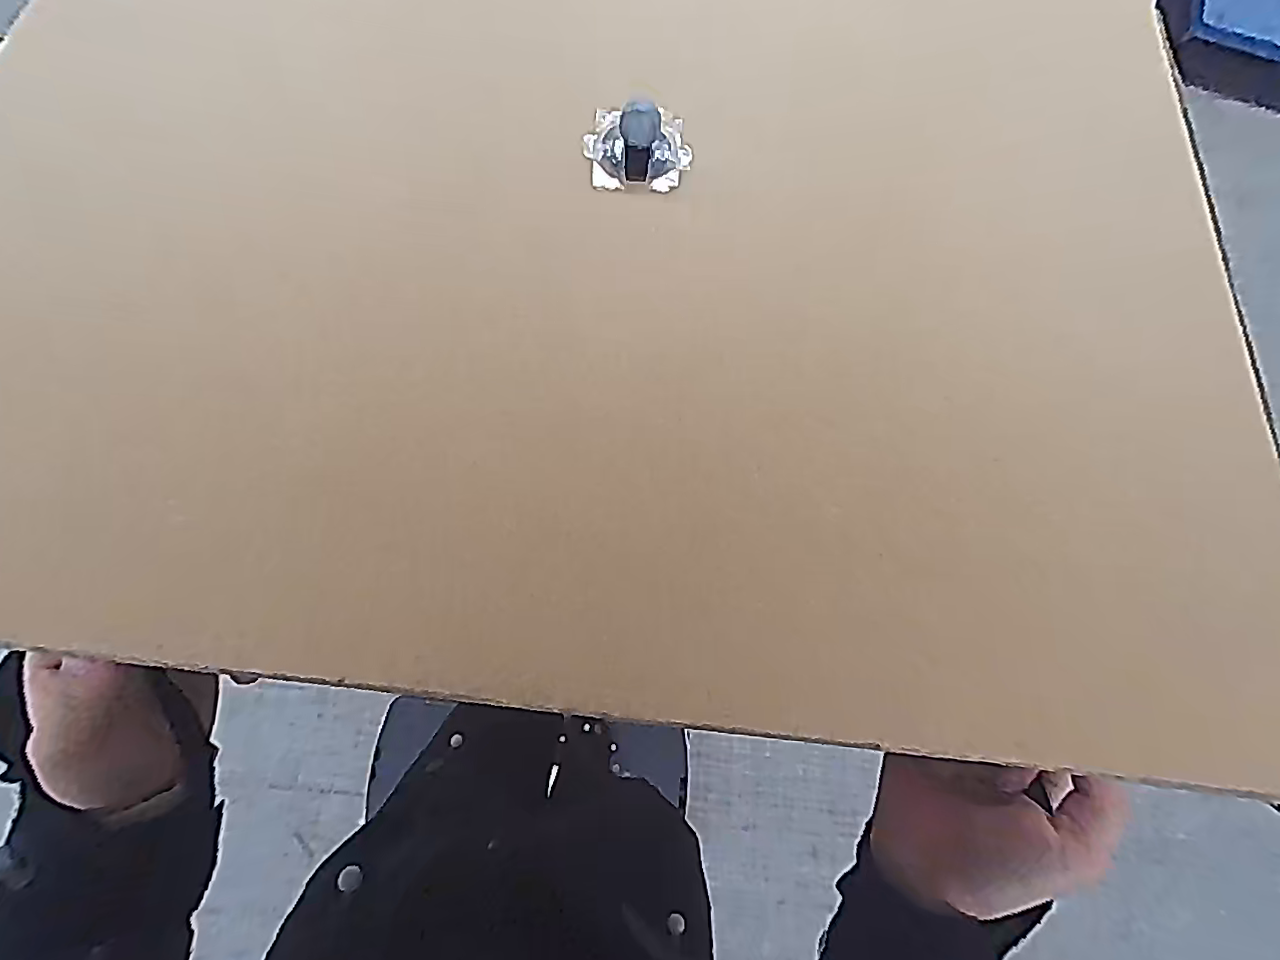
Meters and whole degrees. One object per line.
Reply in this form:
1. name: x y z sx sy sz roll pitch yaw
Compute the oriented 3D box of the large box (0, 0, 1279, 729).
1. large box: -0.013 -0.061 0.315 0.408 0.320 0.320 7 73 -1
